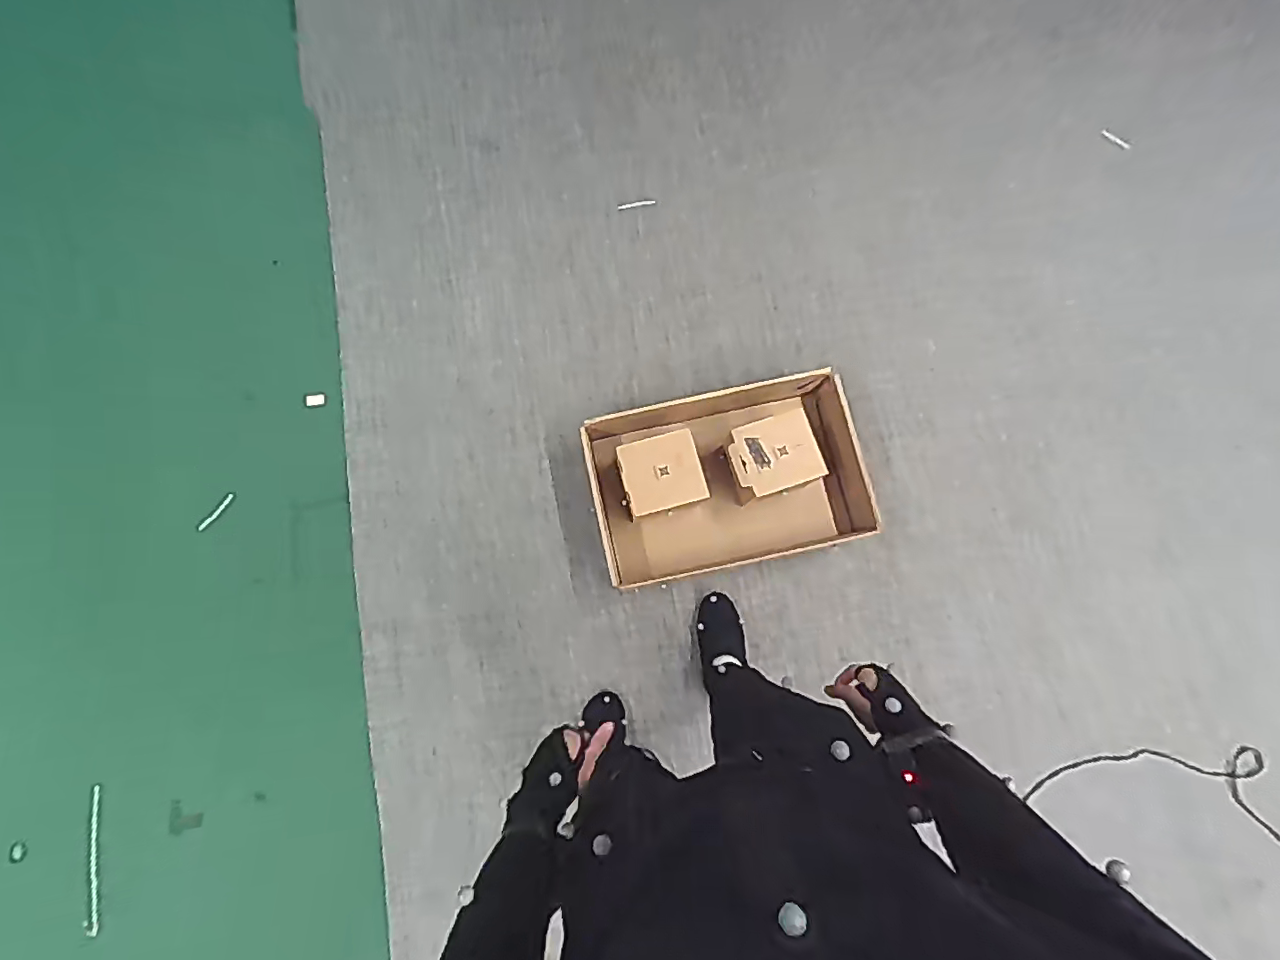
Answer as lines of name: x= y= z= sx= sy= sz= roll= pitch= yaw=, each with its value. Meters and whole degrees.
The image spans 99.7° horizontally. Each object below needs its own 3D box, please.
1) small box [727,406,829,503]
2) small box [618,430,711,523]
small box: x=0.315 y=-0.052 z=1.280 sx=0.179 sy=0.176 sz=0.168 roll=-19 pitch=81 yaw=-2
small box: x=0.054 y=-0.002 z=1.276 sx=0.179 sy=0.176 sz=0.168 roll=-16 pitch=82 yaw=-3
